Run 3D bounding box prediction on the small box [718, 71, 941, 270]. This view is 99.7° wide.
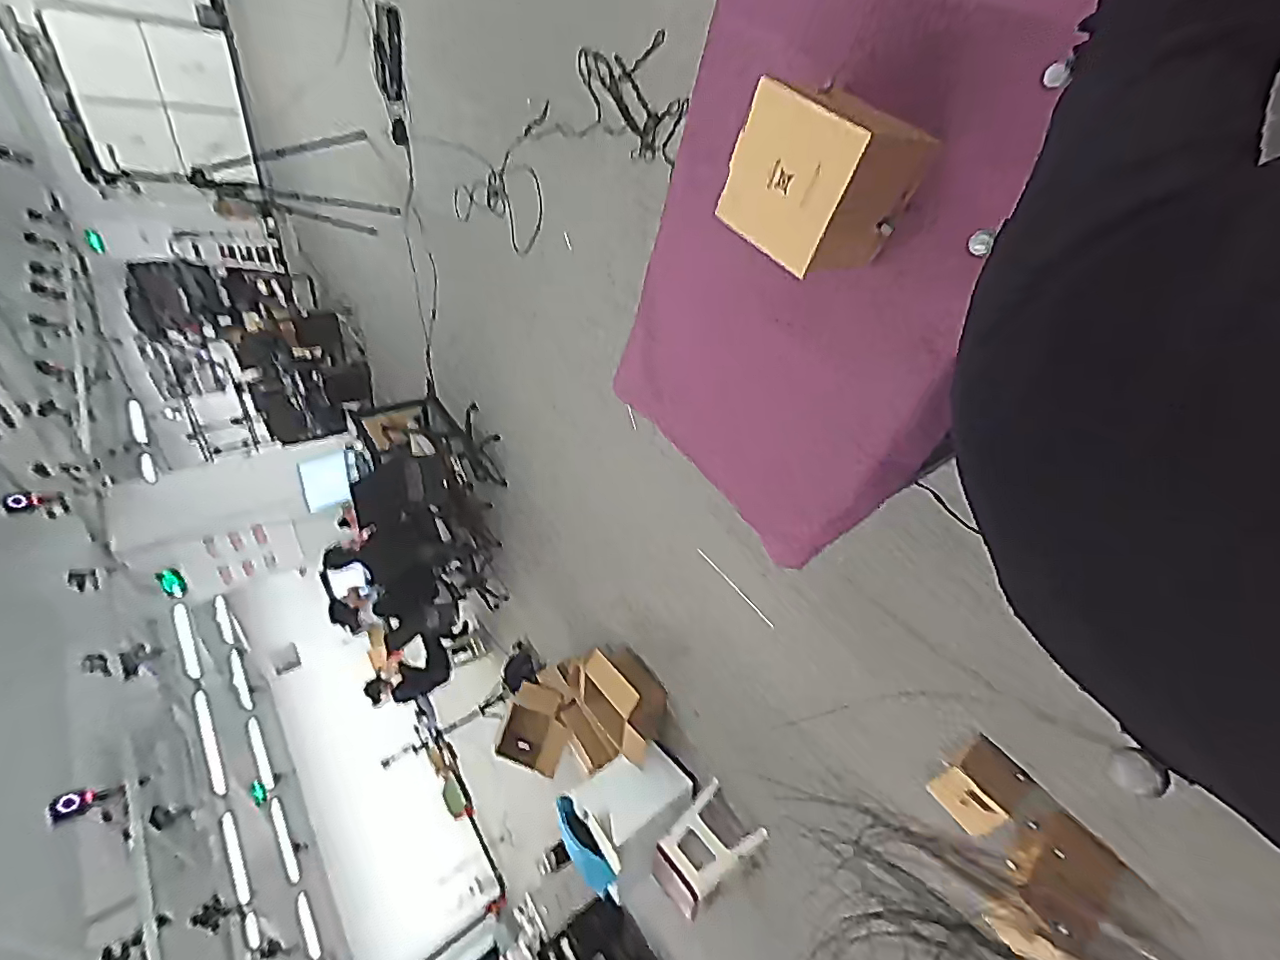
[{"bbox_3d":[0.241,-0.397,0.707,0.179,0.176,0.168,50,142,26],"label":"small box"}]

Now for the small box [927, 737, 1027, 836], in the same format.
[{"bbox_3d":[1.002,0.900,1.600,0.168,0.176,0.179,46,140,31],"label":"small box"}]

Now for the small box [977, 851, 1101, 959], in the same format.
[{"bbox_3d":[1.023,1.102,1.386,0.168,0.176,0.179,47,140,30],"label":"small box"}]
